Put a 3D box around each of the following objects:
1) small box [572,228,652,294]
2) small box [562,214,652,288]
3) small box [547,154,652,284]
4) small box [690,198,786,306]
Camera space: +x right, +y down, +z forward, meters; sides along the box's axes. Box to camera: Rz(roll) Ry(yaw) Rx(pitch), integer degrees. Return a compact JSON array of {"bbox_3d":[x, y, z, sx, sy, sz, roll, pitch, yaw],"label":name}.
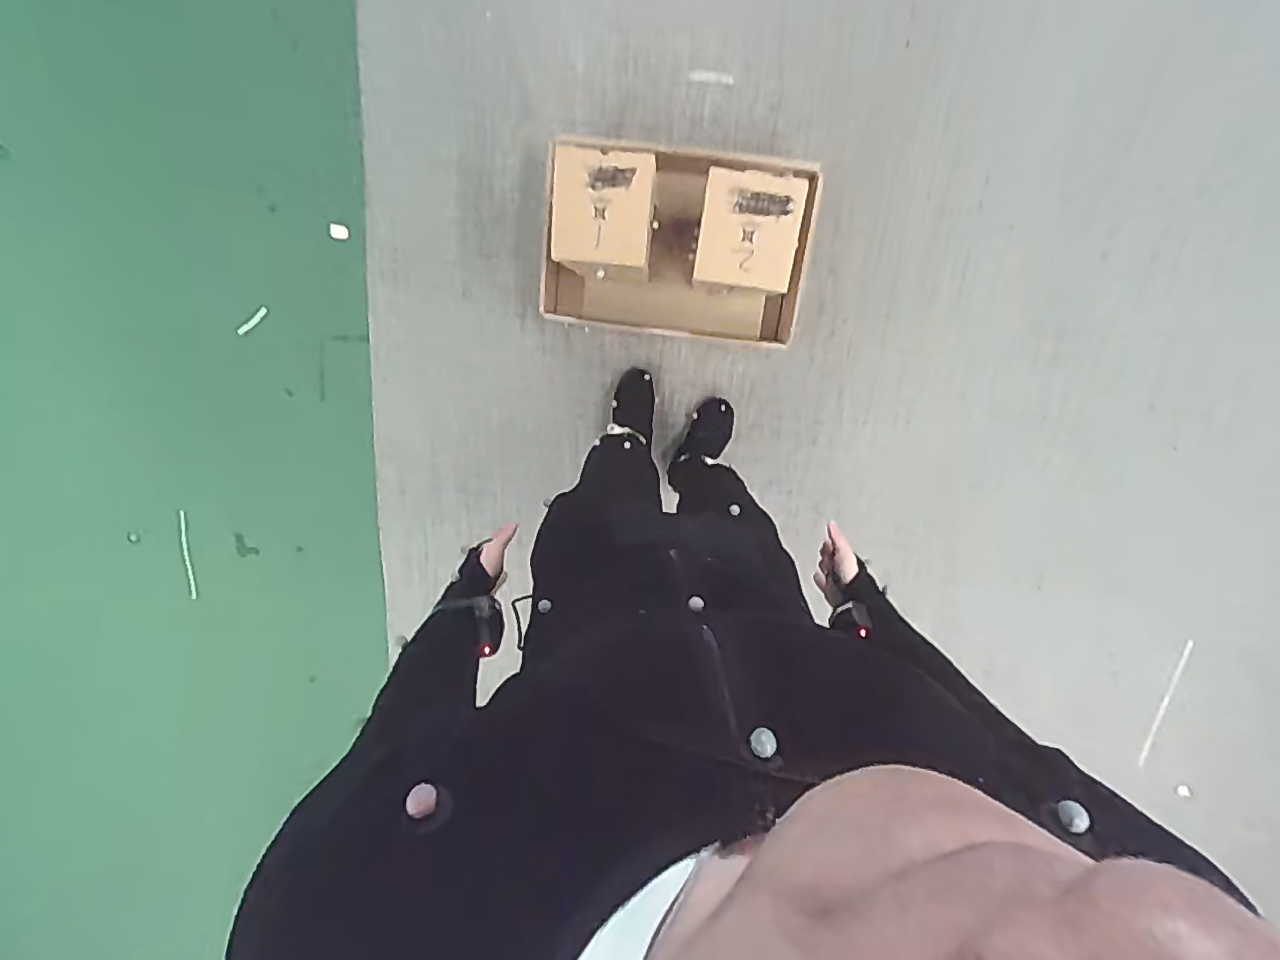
[{"bbox_3d":[-0.063,-0.551,1.301,0.168,0.176,0.179,7,105,0],"label":"small box"},{"bbox_3d":[-0.065,-0.508,1.145,0.168,0.176,0.179,6,105,1],"label":"small box"},{"bbox_3d":[-0.068,-0.465,0.987,0.168,0.176,0.179,6,106,1],"label":"small box"},{"bbox_3d":[0.197,-0.472,1.142,0.168,0.176,0.179,7,105,3],"label":"small box"}]
